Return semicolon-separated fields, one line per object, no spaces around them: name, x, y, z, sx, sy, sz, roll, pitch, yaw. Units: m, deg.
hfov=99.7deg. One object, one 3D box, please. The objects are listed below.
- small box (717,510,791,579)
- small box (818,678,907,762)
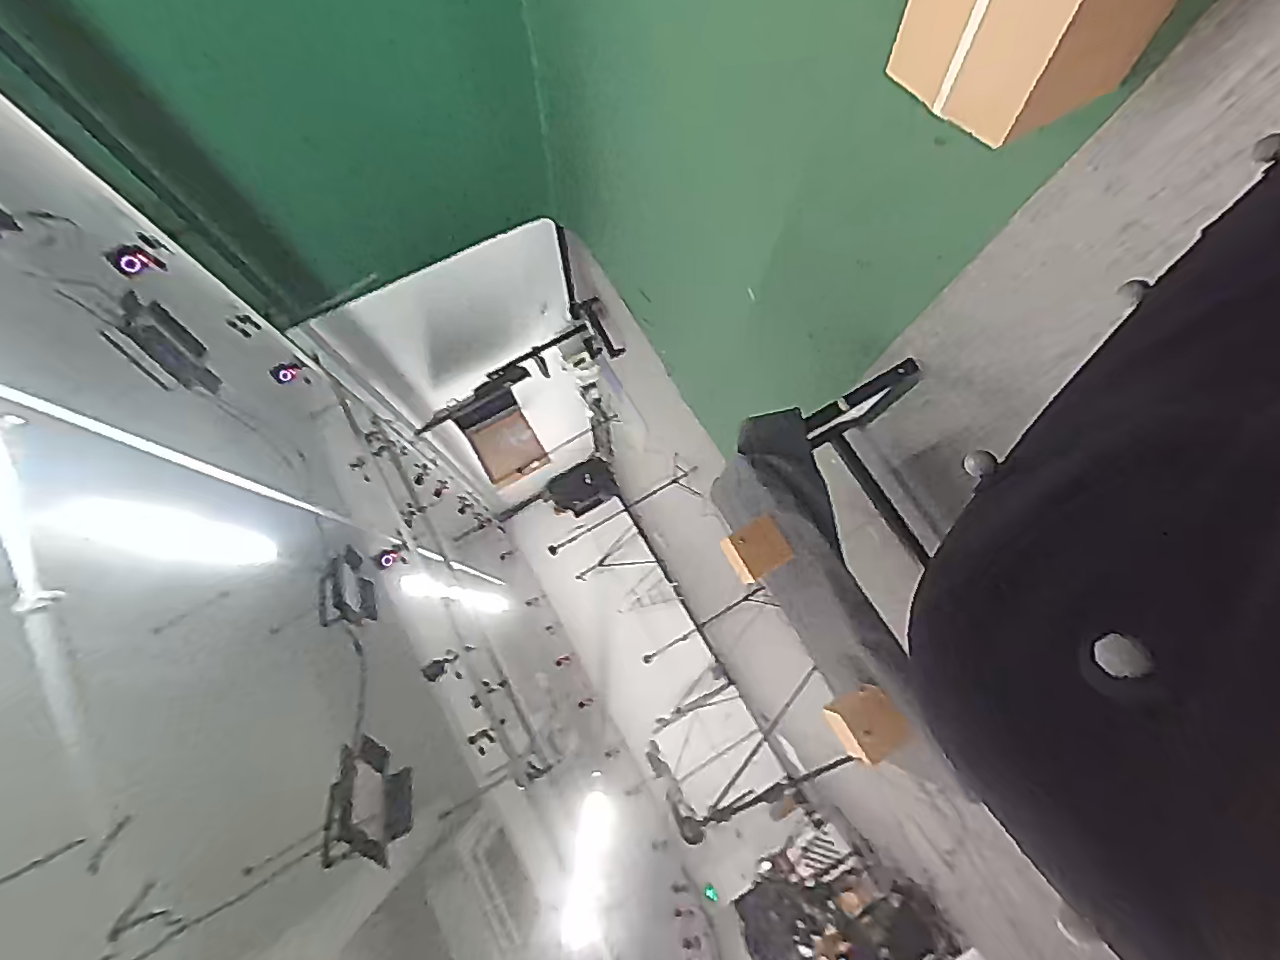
small box;0.392;0.225;1.865;0.179;0.176;0.168;59;171;10
small box;0.716;0.766;1.739;0.179;0.176;0.168;60;170;13
